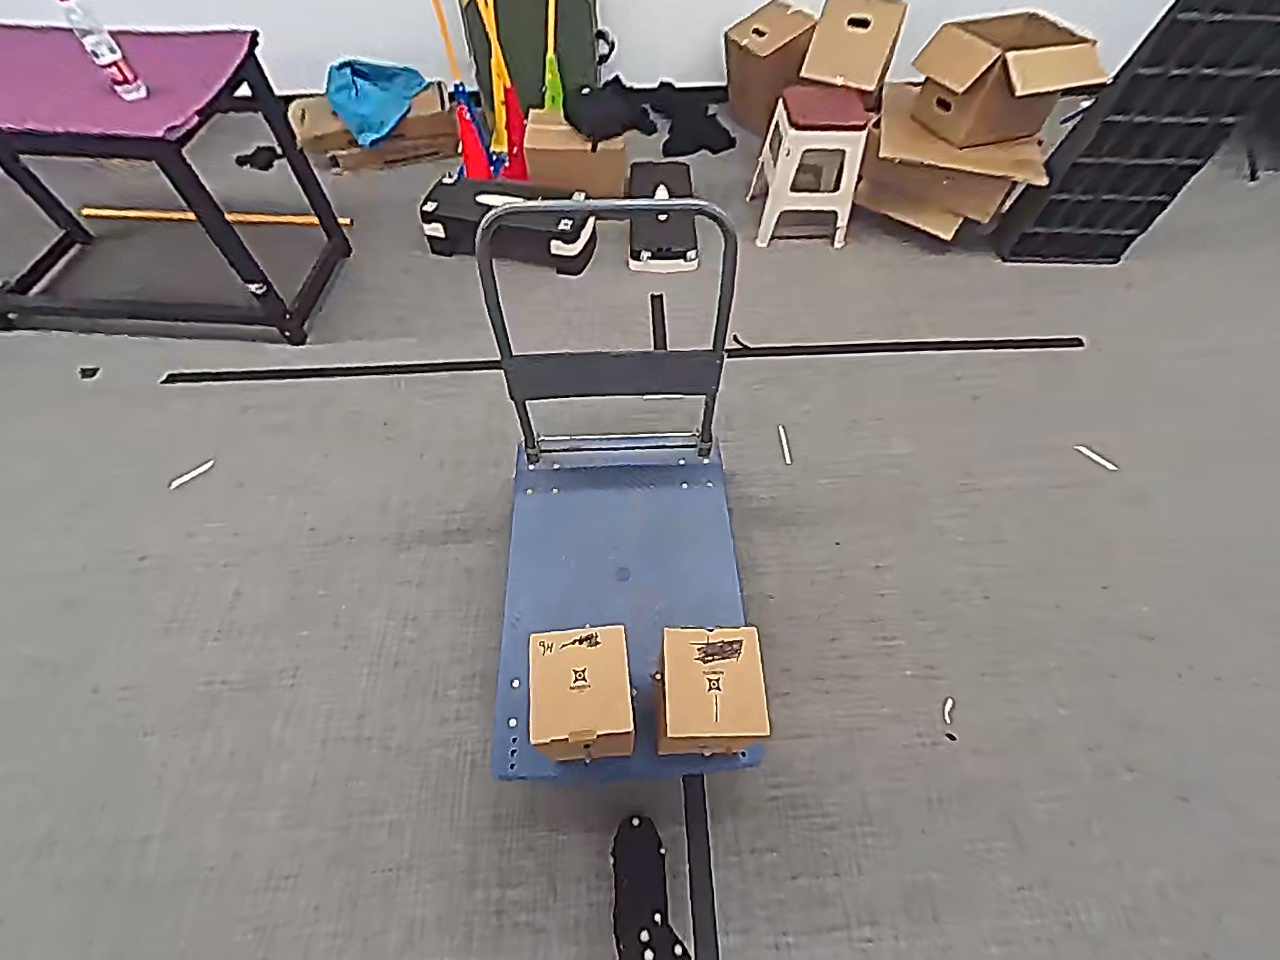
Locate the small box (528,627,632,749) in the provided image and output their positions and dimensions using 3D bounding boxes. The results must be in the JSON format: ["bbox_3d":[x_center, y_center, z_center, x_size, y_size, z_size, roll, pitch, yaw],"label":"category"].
[{"bbox_3d":[-0.101,0.374,0.958,0.168,0.176,0.179,-4,59,-4],"label":"small box"}]

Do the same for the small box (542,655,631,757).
[{"bbox_3d":[-0.103,0.460,1.098,0.168,0.176,0.179,-2,57,-3],"label":"small box"}]

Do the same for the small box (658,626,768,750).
[{"bbox_3d":[0.120,0.373,0.962,0.168,0.176,0.179,1,58,-1],"label":"small box"}]
